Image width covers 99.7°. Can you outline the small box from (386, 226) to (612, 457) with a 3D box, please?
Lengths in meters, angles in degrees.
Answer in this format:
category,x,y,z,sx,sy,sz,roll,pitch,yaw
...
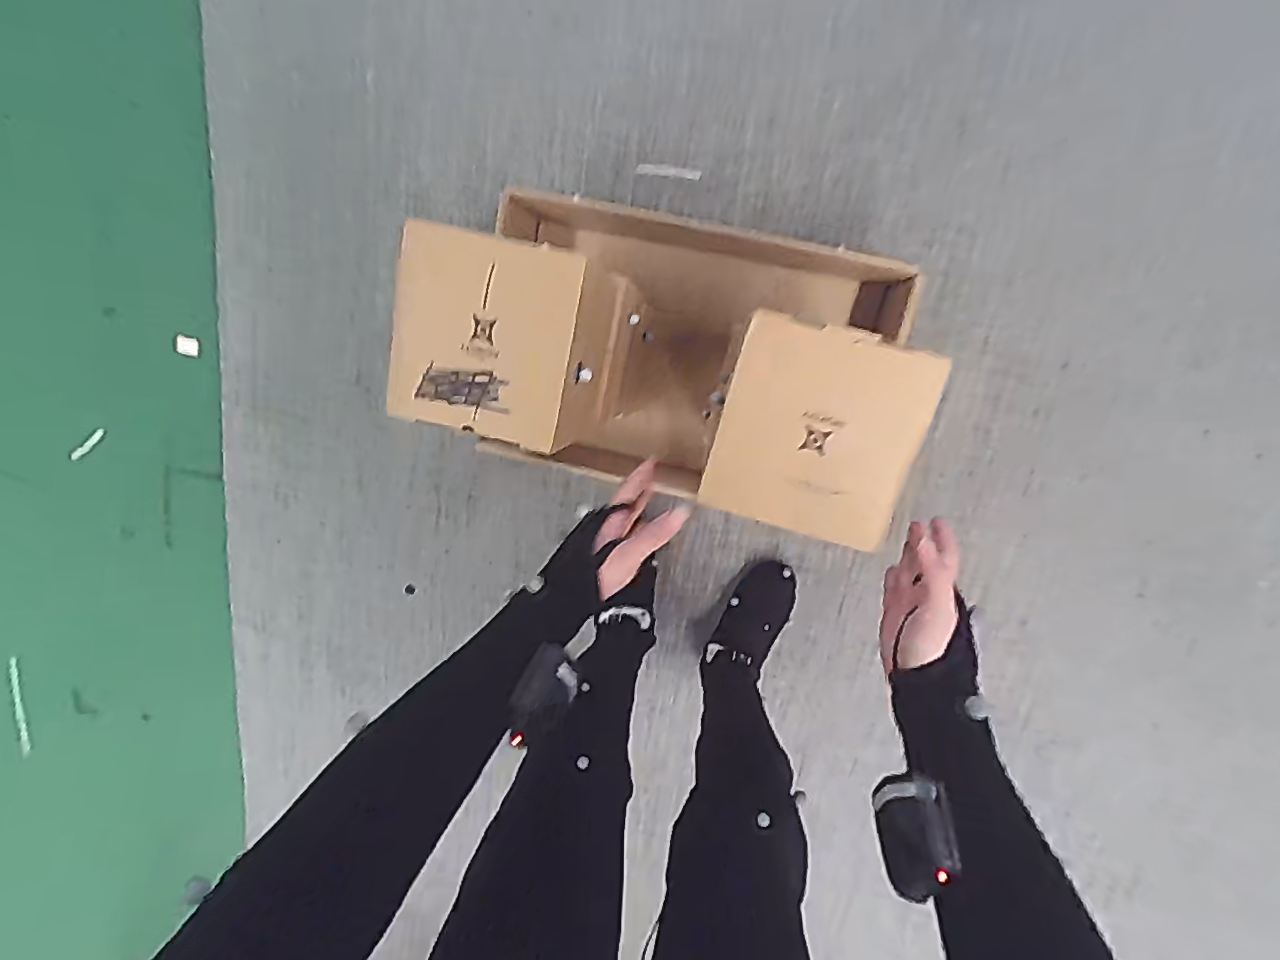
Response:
category,x,y,z,sx,sy,sz,roll,pitch,yaw
small box,-0.133,-0.136,0.561,0.168,0.176,0.179,13,102,5

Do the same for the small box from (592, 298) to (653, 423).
category,x,y,z,sx,sy,sz,roll,pitch,yaw
small box,-0.079,-0.201,0.878,0.168,0.176,0.179,14,103,5

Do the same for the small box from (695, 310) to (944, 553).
category,x,y,z,sx,sy,sz,roll,pitch,yaw
small box,0.158,-0.055,0.537,0.168,0.176,0.179,16,105,5
